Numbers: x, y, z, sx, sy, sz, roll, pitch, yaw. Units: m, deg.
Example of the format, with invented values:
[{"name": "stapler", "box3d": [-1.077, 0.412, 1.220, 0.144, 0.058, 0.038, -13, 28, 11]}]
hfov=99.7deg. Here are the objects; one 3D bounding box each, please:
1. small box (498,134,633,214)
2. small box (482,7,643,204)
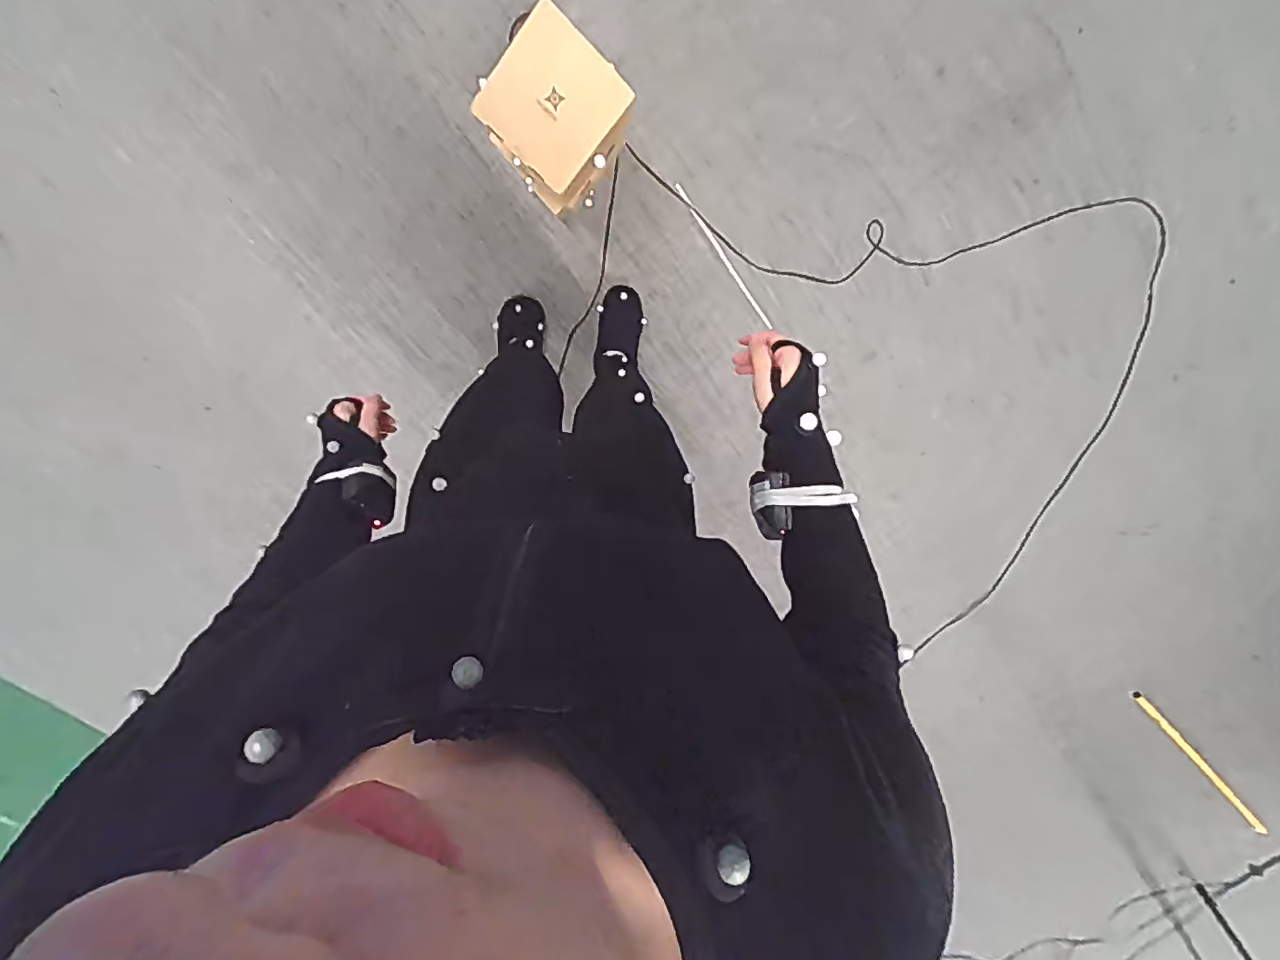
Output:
[{"name": "small box", "box3d": [-0.128, -0.619, 0.999, 0.179, 0.176, 0.168, 36, 108, -15]}, {"name": "small box", "box3d": [-0.115, -0.563, 0.845, 0.168, 0.176, 0.179, 39, 108, -17]}]
